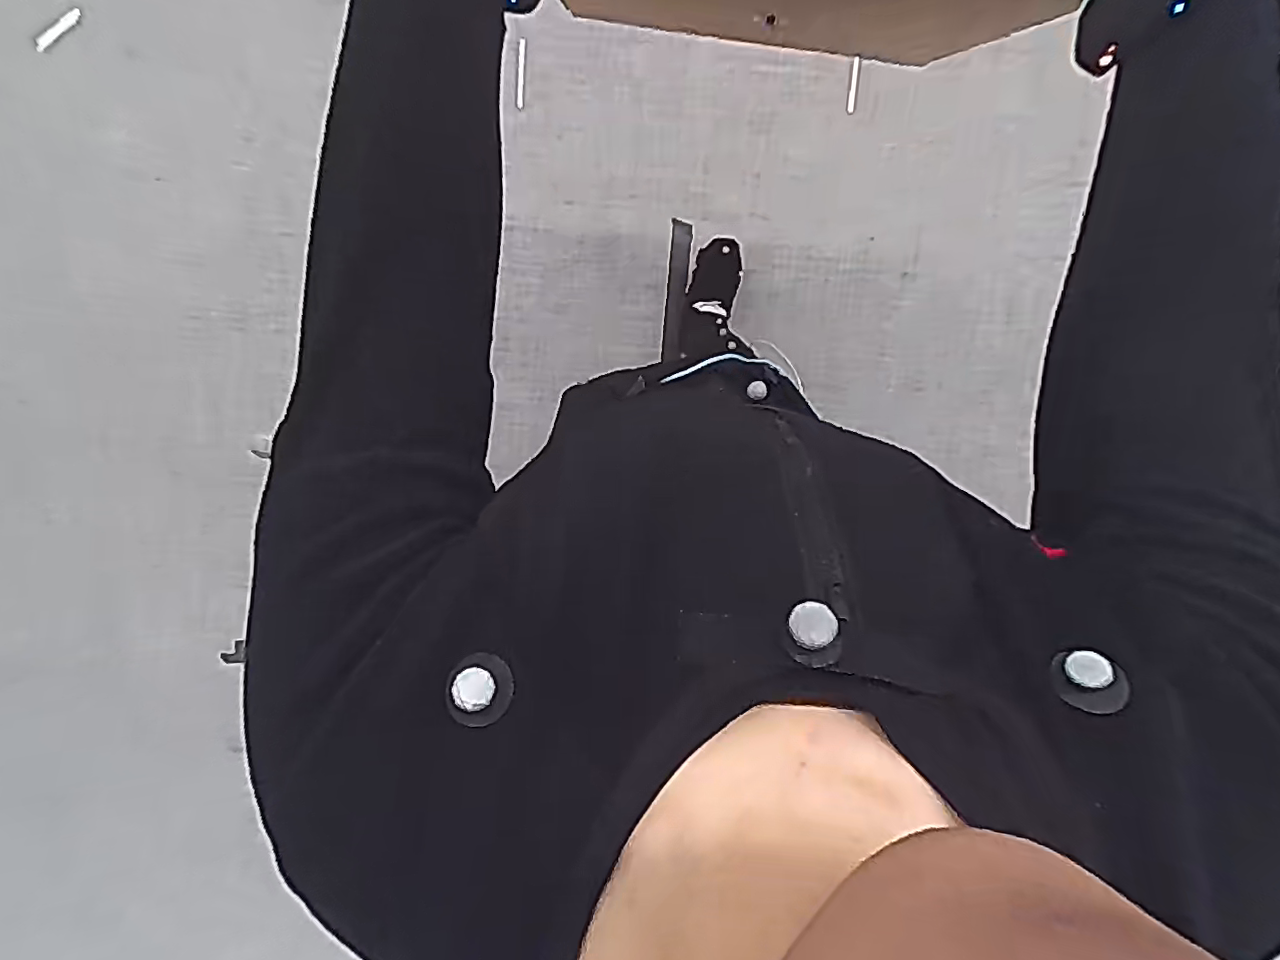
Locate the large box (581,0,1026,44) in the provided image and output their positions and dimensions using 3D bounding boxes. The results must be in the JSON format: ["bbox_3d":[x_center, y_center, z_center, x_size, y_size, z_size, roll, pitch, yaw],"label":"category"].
[{"bbox_3d":[0.138,-0.564,0.409,0.408,0.320,0.320,7,120,-1],"label":"large box"}]
